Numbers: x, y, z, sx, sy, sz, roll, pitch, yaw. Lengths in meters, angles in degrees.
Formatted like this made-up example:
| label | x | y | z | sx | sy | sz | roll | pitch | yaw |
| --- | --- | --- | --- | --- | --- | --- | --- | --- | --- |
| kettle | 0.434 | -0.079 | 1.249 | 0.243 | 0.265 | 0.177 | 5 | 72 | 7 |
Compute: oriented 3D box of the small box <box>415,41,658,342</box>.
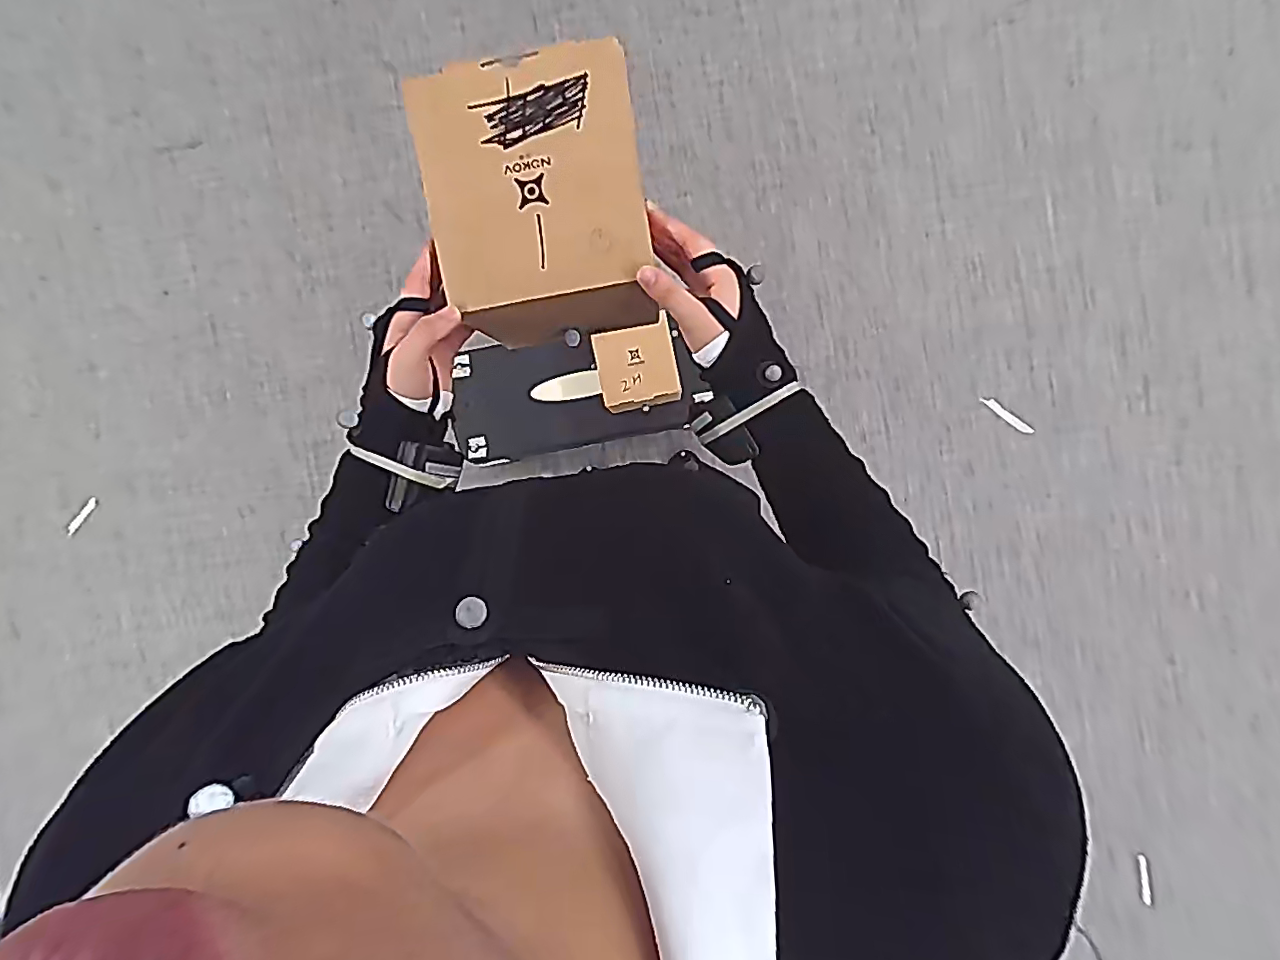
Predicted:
| label | x | y | z | sx | sy | sz | roll | pitch | yaw |
| --- | --- | --- | --- | --- | --- | --- | --- | --- | --- |
| small box | -0.077 | -0.238 | 0.492 | 0.168 | 0.176 | 0.179 | -9 | 95 | 4 |

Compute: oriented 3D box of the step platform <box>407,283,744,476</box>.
| label | x | y | z | sx | sy | sz | roll | pitch | yaw |
| --- | --- | --- | --- | --- | --- | --- | --- | --- | --- |
| step platform | -0.133 | -0.204 | 1.185 | 0.684 | 0.204 | 0.286 | -11 | 92 | 2 |

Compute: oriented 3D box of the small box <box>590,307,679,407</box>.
| label | x | y | z | sx | sy | sz | roll | pitch | yaw |
| --- | --- | --- | --- | --- | --- | --- | --- | --- | --- |
| small box | -0.010 | -0.265 | 1.213 | 0.168 | 0.176 | 0.179 | -11 | 92 | 4 |
